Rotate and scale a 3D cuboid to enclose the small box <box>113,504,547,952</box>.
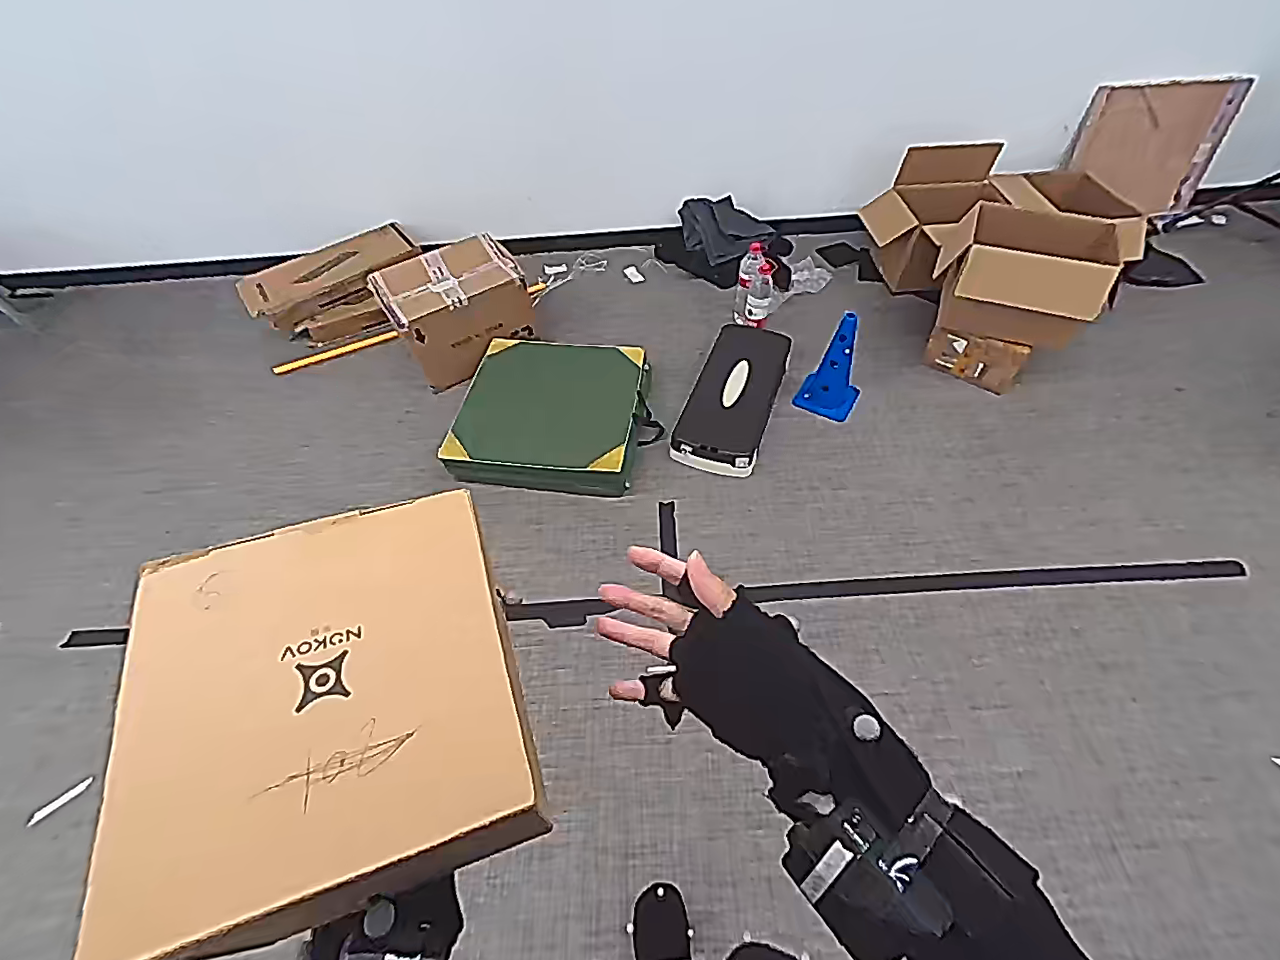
[{"bbox_3d":[-0.158,0.145,0.334,0.168,0.176,0.179,-13,56,-16],"label":"small box"}]
